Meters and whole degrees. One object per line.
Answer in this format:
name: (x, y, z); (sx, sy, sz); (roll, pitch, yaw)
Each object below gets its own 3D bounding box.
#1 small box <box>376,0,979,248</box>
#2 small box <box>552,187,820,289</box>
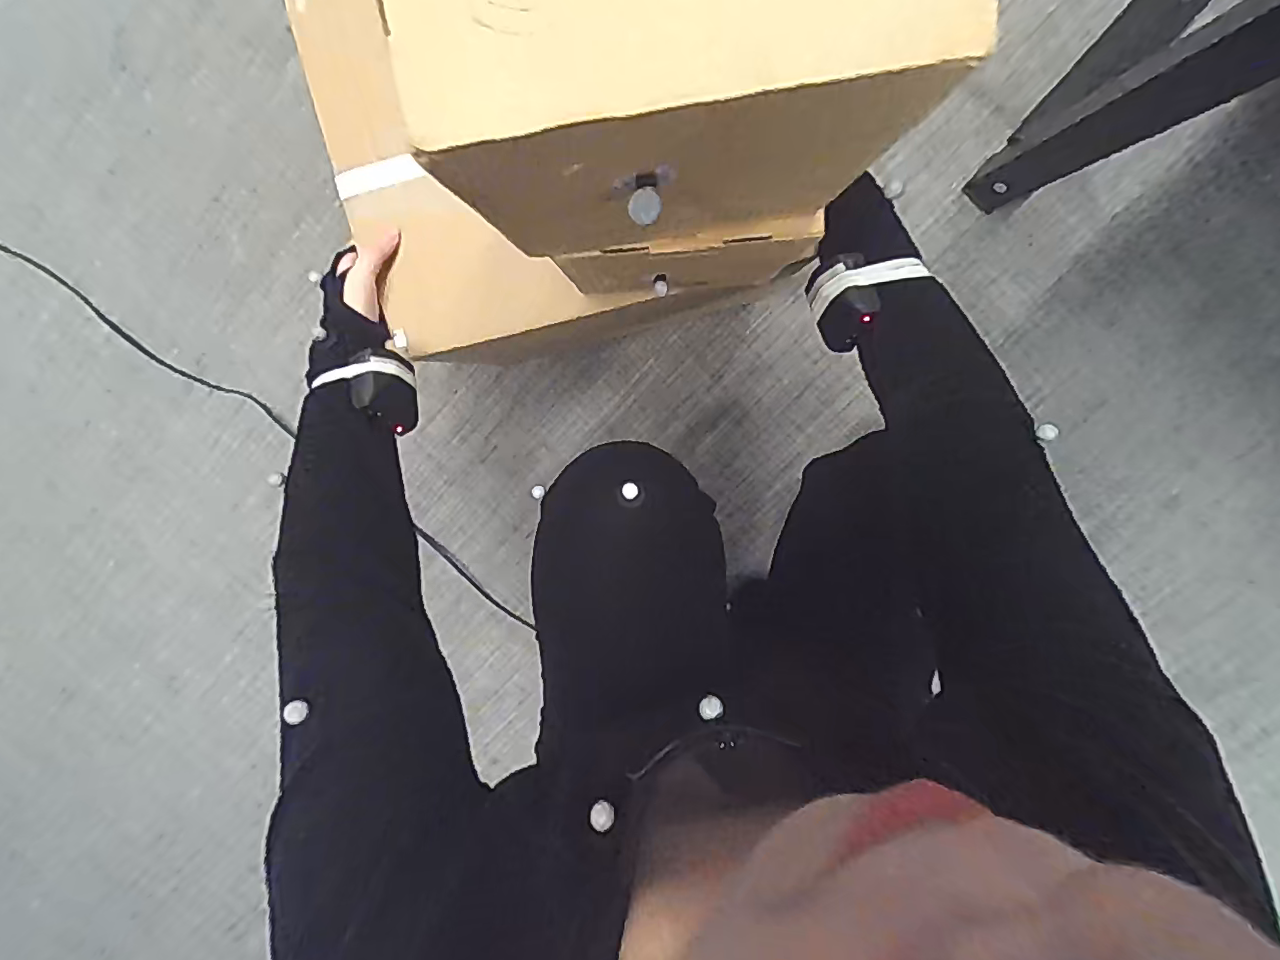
small box: (0.005, -0.205, 0.223); (0.179, 0.176, 0.168); (-8, 104, 4)
small box: (0.021, -0.242, 0.384); (0.168, 0.176, 0.179); (-4, 104, 2)
